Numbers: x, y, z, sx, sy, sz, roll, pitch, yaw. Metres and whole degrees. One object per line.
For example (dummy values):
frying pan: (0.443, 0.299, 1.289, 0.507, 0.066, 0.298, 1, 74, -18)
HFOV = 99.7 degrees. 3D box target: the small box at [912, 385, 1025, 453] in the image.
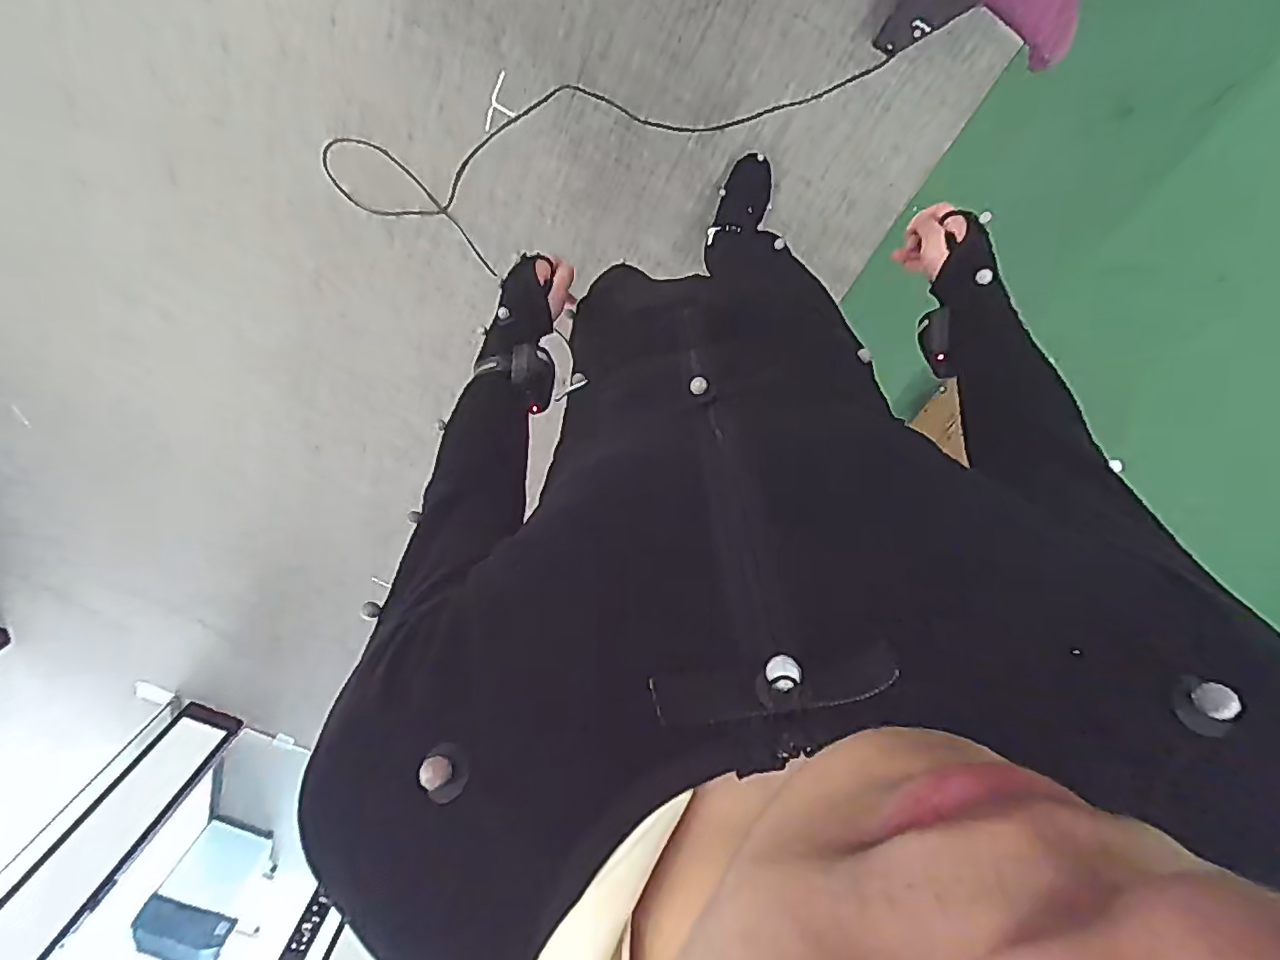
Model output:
small box: (0.890, -0.143, 1.488, 0.179, 0.176, 0.168, 25, 121, -8)
